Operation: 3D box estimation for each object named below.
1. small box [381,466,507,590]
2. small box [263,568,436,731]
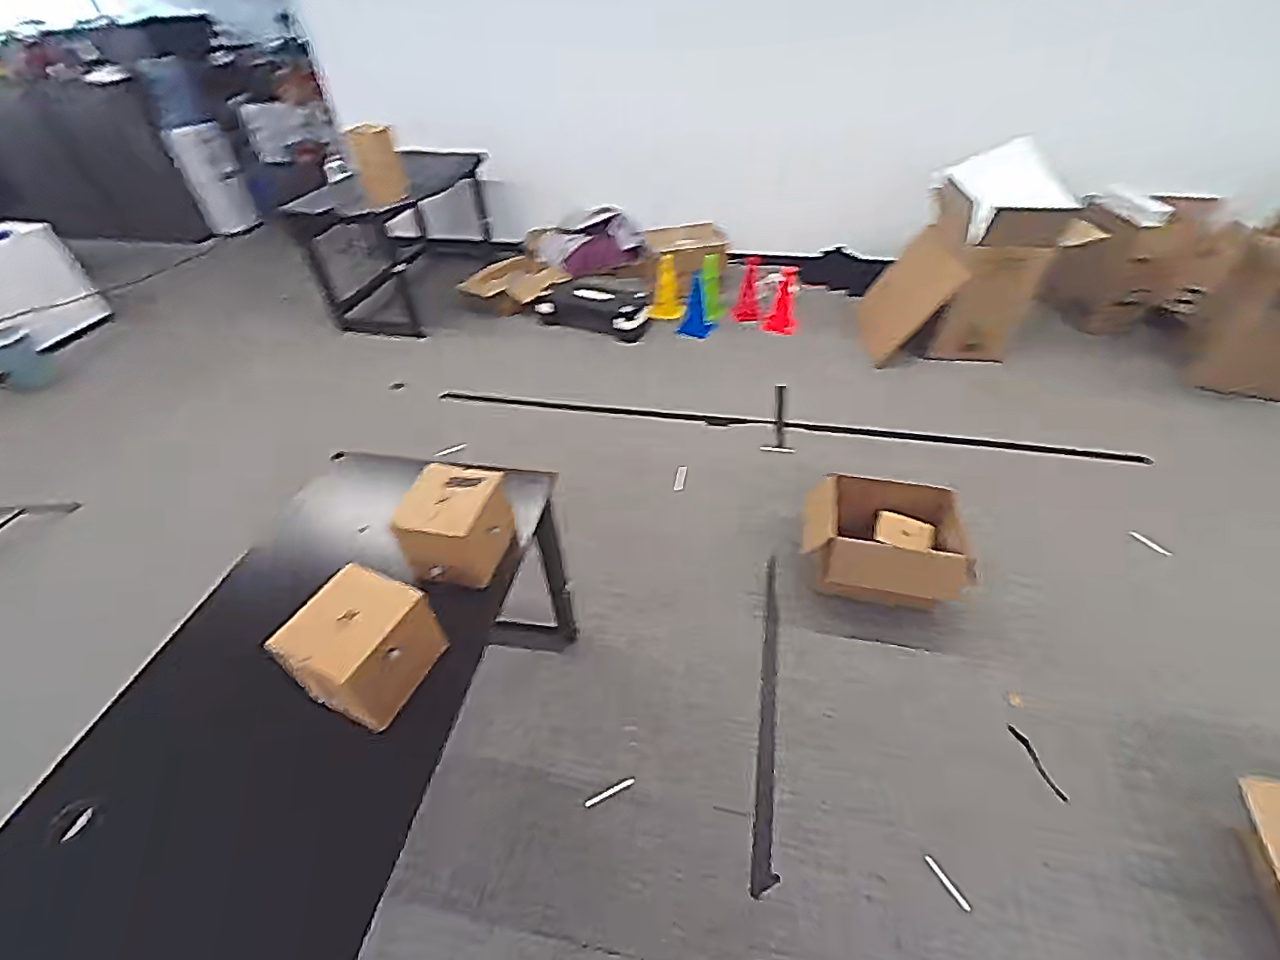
[{"bbox_3d":[-0.386,0.098,1.107,0.168,0.176,0.179,6,46,10],"label":"small box"},{"bbox_3d":[-0.472,0.286,0.918,0.168,0.176,0.179,15,47,18],"label":"small box"}]
